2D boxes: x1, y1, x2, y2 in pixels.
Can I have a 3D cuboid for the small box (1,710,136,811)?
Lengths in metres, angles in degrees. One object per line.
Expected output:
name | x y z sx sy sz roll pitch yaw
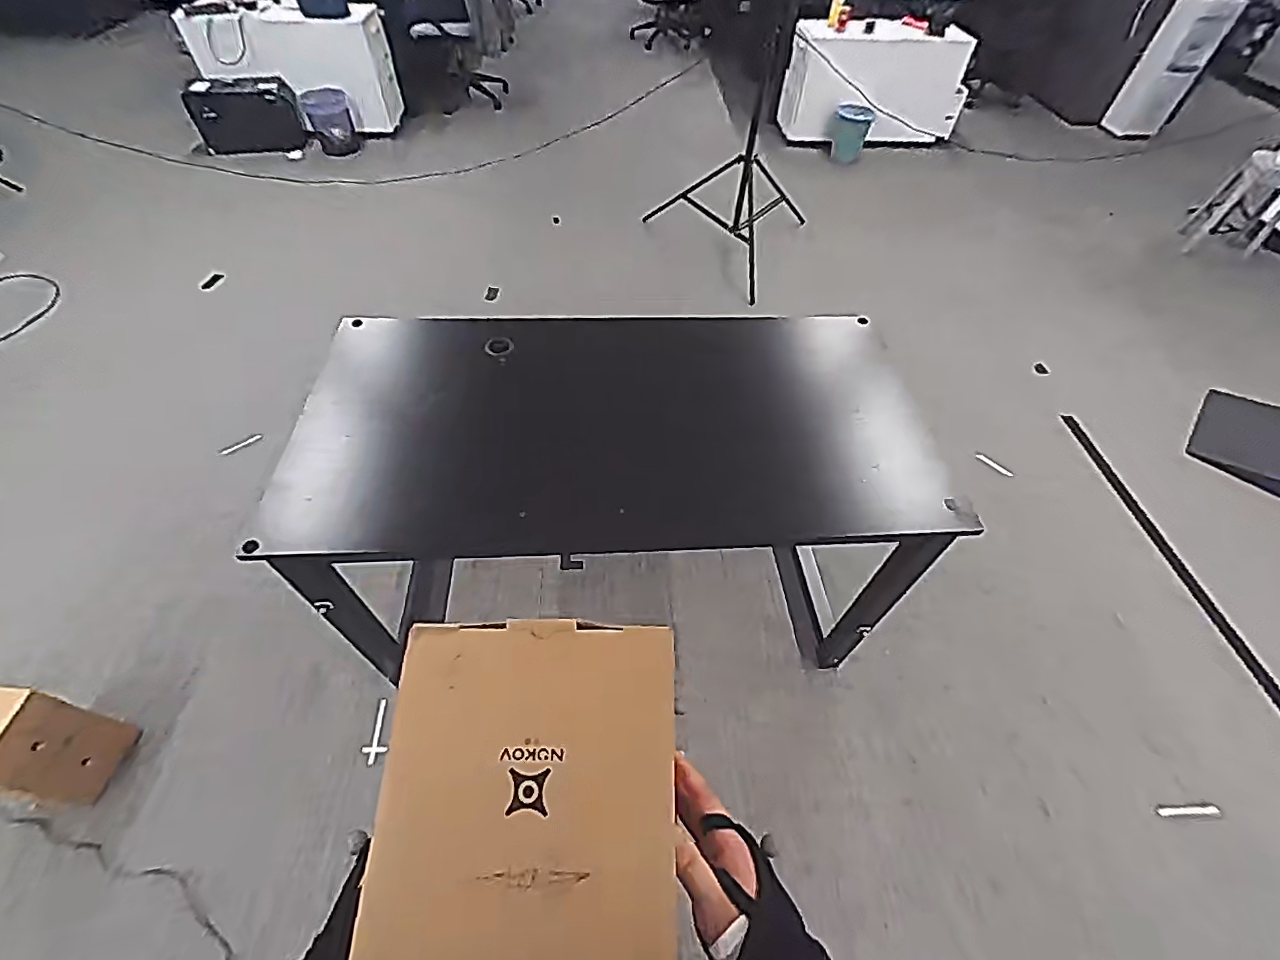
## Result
small box | -1.316 0.631 1.227 0.168 0.176 0.179 5 52 2

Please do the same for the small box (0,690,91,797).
small box | -1.299 0.534 1.095 0.179 0.176 0.168 3 50 0

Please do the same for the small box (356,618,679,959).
small box | -0.062 0.202 0.379 0.168 0.176 0.179 0 65 0
